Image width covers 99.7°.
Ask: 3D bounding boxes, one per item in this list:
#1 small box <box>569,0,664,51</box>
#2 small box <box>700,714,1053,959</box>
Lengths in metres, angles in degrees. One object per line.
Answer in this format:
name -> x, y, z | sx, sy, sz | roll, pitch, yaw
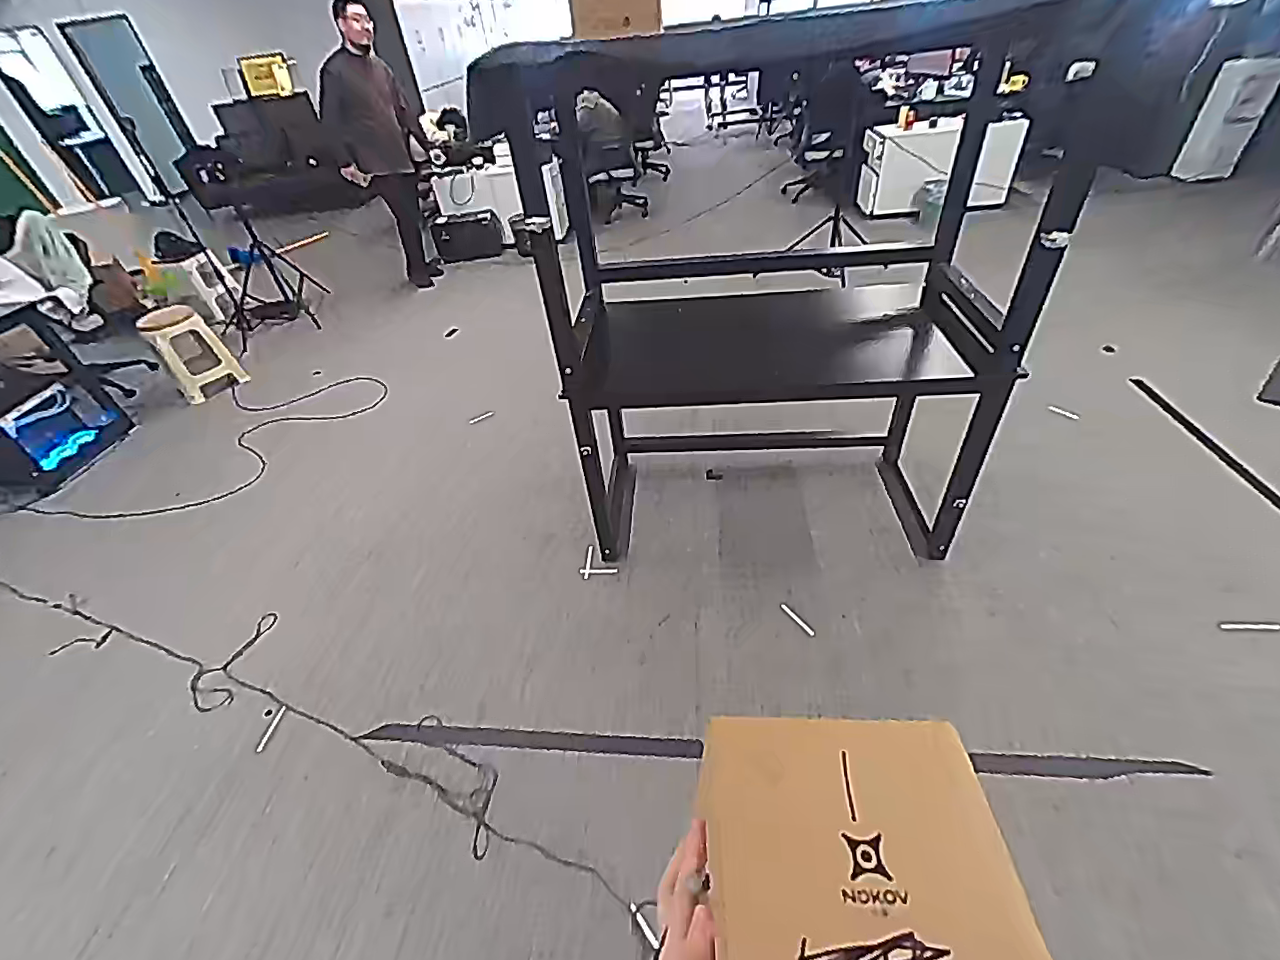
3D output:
small box -> -0.042, -0.925, 1.016 | 0.168, 0.176, 0.179 | -1, 39, 6
small box -> 0.129, 0.278, 0.354 | 0.168, 0.176, 0.179 | 1, 41, 1
